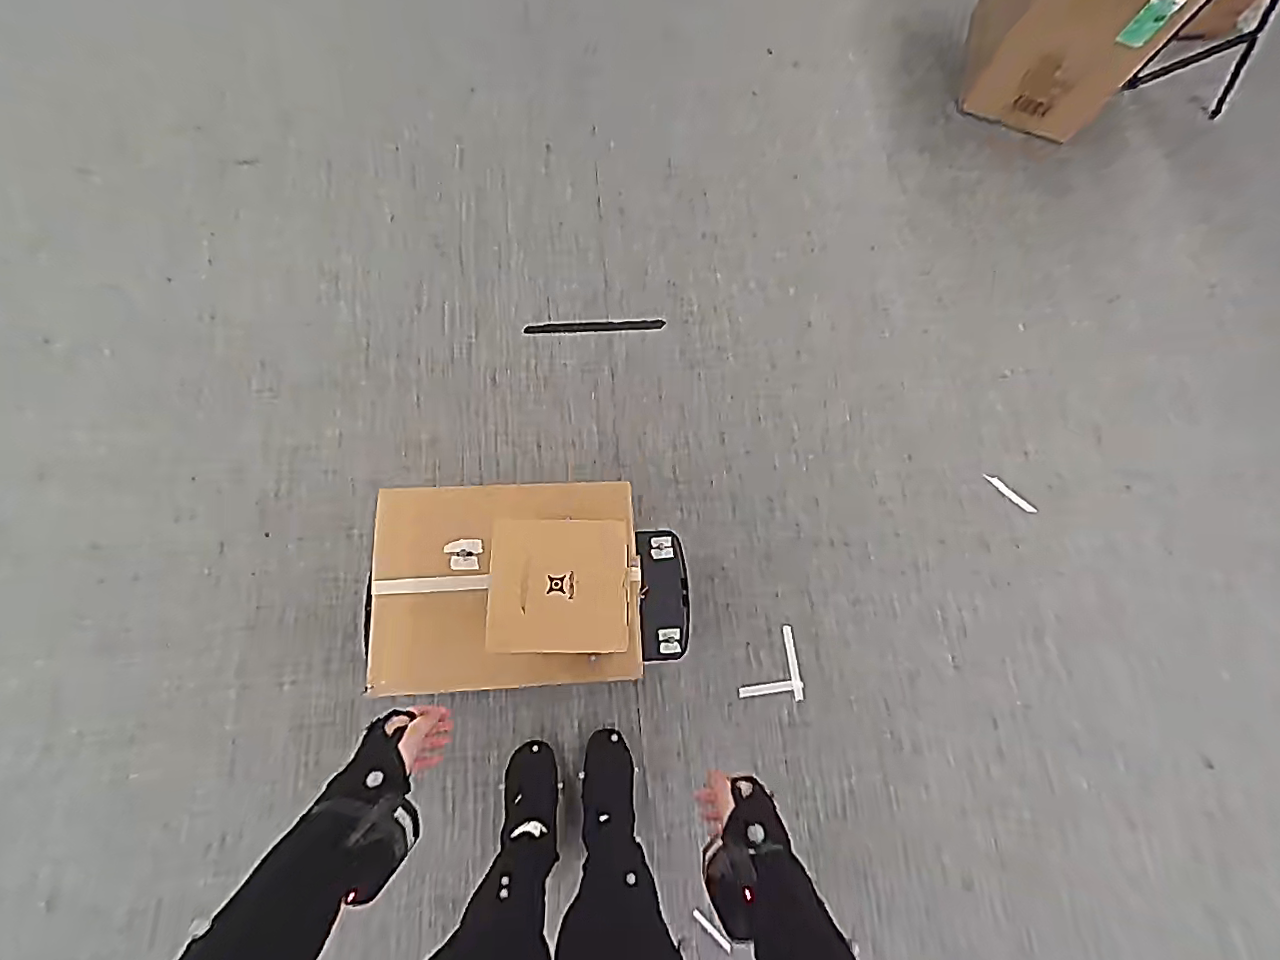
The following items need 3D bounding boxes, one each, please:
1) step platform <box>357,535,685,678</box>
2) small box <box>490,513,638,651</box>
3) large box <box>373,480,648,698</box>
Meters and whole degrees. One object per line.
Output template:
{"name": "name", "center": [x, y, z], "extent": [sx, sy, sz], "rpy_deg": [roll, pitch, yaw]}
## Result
{"name": "step platform", "center": [-0.242, 0.275, 1.195], "extent": [0.684, 0.204, 0.286], "rpy_deg": [3, 74, -3]}
{"name": "small box", "center": [-0.097, 0.143, 0.742], "extent": [0.179, 0.176, 0.168], "rpy_deg": [2, 75, -4]}
{"name": "large box", "center": [-0.205, 0.195, 0.973], "extent": [0.408, 0.320, 0.320], "rpy_deg": [-2, 74, -5]}
